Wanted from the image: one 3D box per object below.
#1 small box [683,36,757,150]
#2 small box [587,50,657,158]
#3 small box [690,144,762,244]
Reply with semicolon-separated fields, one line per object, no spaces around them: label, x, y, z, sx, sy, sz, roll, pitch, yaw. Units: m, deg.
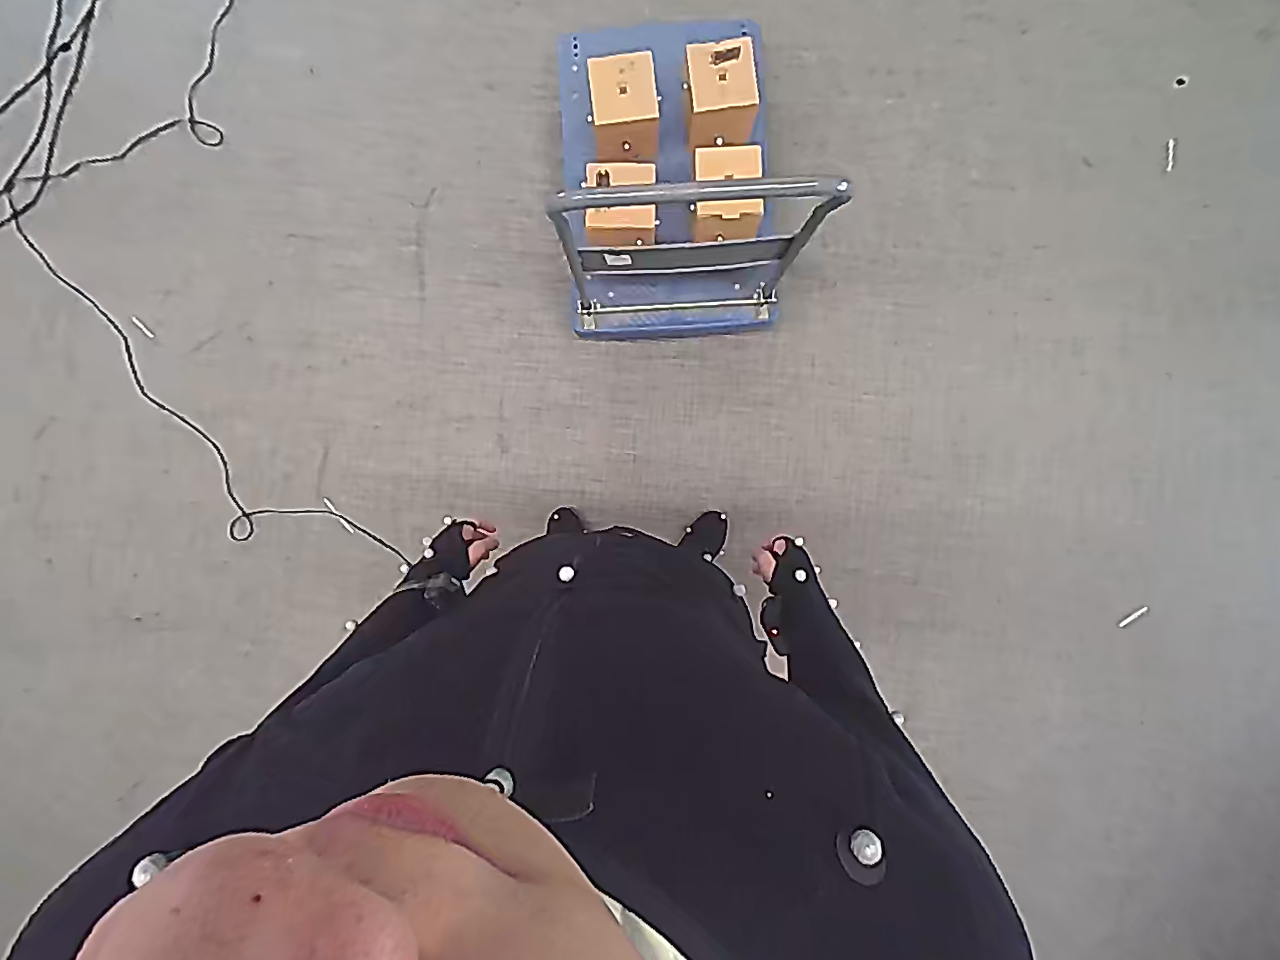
small box;0.206;-1.021;1.438;0.168;0.176;0.179;-7;89;2
small box;-0.044;-0.990;1.444;0.168;0.176;0.179;-7;88;0
small box;0.222;-0.751;1.430;0.168;0.176;0.179;-2;88;1
